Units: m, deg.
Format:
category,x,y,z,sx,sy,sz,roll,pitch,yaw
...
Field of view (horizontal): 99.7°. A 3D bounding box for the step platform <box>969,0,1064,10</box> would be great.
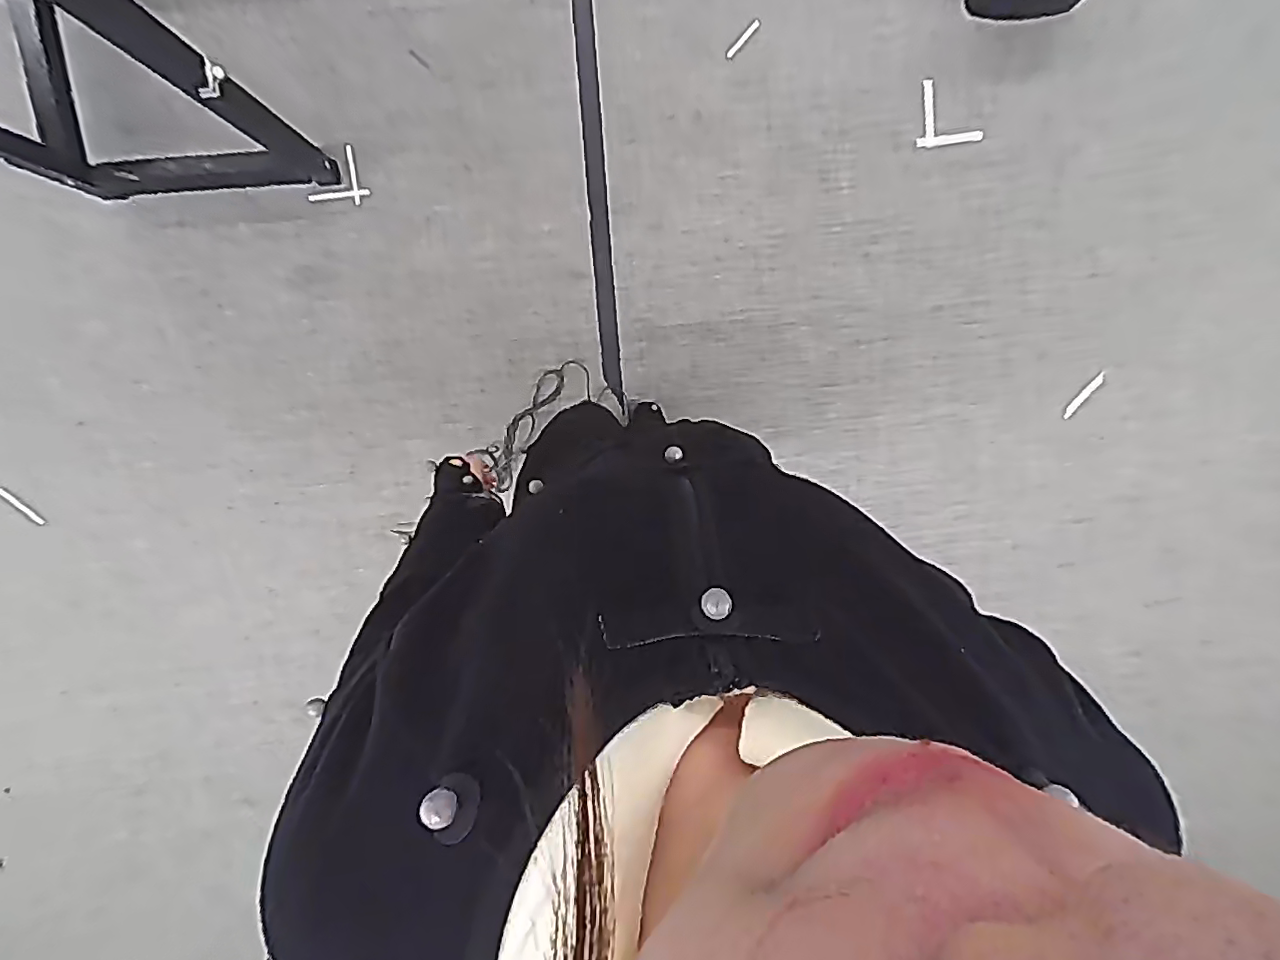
category,x,y,z,sx,sy,sz,roll,pitch,yaw
step platform,0.932,-1.483,1.188,0.286,0.204,0.684,1,98,-2
